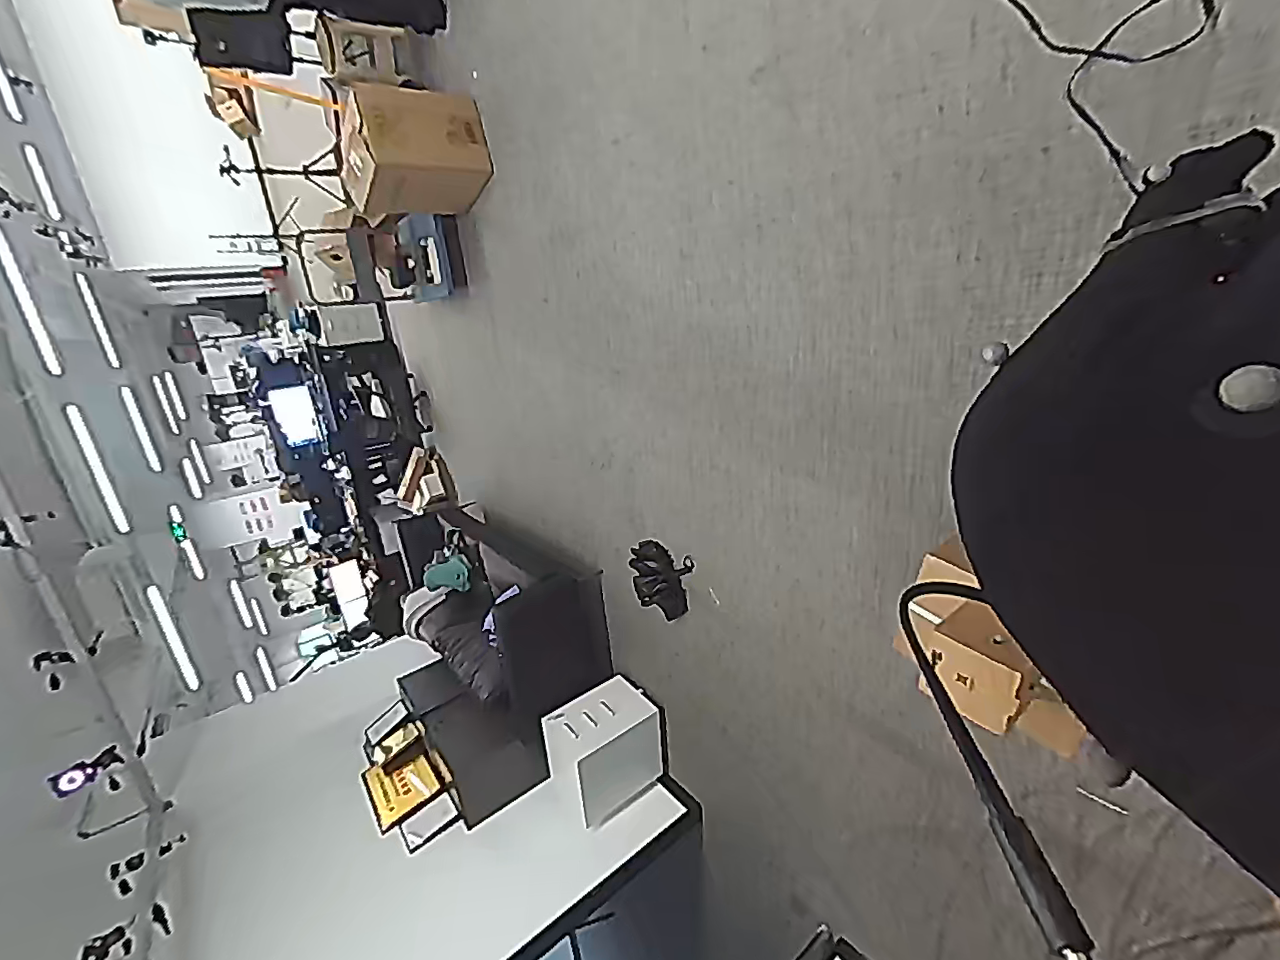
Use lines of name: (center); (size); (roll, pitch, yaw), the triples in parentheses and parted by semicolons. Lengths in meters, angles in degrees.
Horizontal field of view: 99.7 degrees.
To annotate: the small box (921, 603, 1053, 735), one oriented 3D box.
small box: (0.738, 0.390, 1.150); (0.179, 0.176, 0.168); (26, 125, 47)
